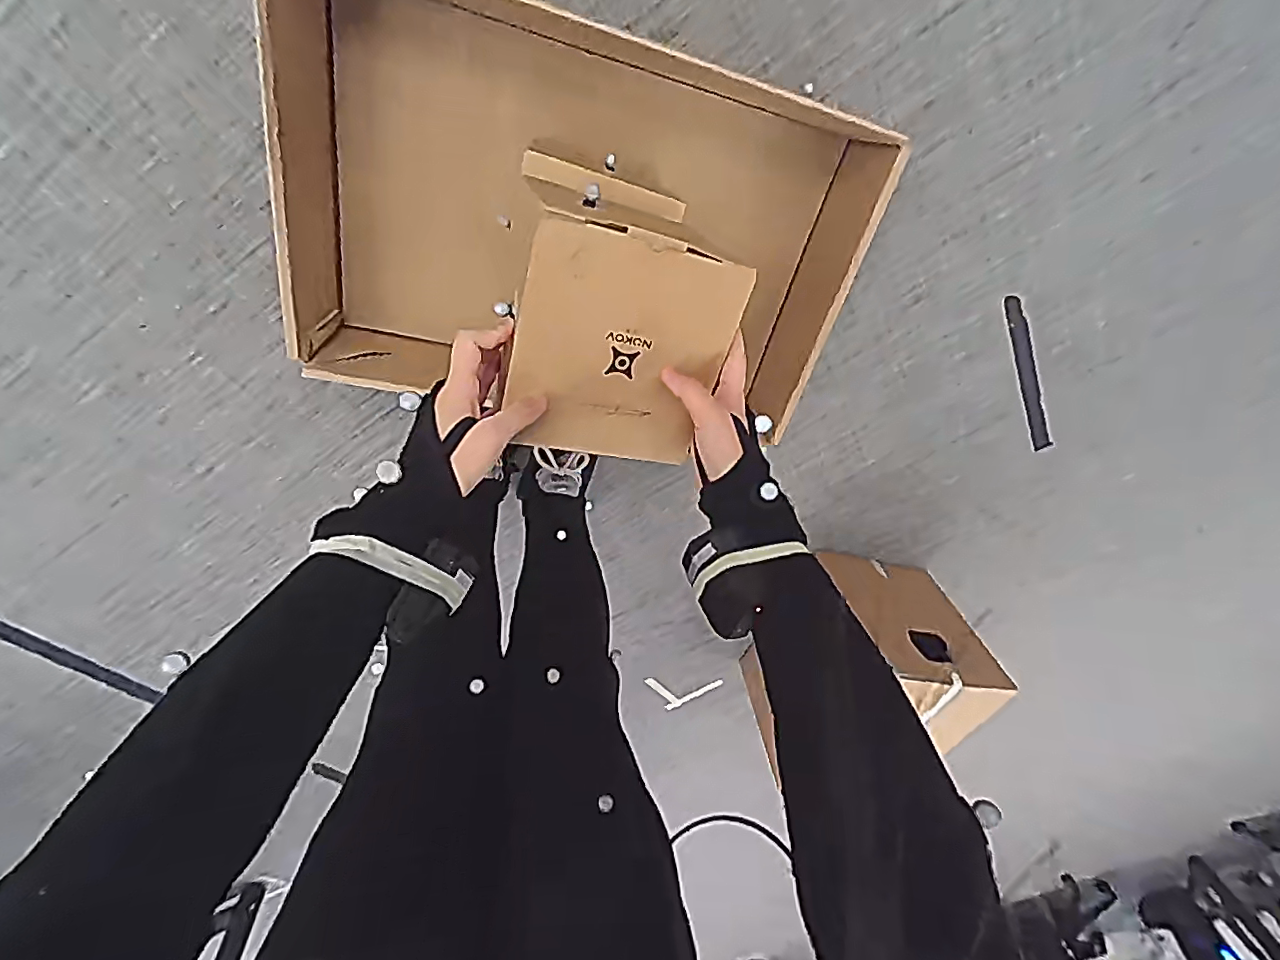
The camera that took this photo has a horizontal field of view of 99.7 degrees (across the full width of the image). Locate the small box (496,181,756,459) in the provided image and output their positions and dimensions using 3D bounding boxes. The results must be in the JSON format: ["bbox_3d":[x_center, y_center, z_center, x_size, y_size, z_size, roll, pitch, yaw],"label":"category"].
[{"bbox_3d":[-0.031,-0.143,0.479,0.168,0.176,0.179,7,123,-21],"label":"small box"}]

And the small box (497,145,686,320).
[{"bbox_3d":[-0.065,-0.270,0.634,0.168,0.176,0.179,11,122,-15],"label":"small box"}]
